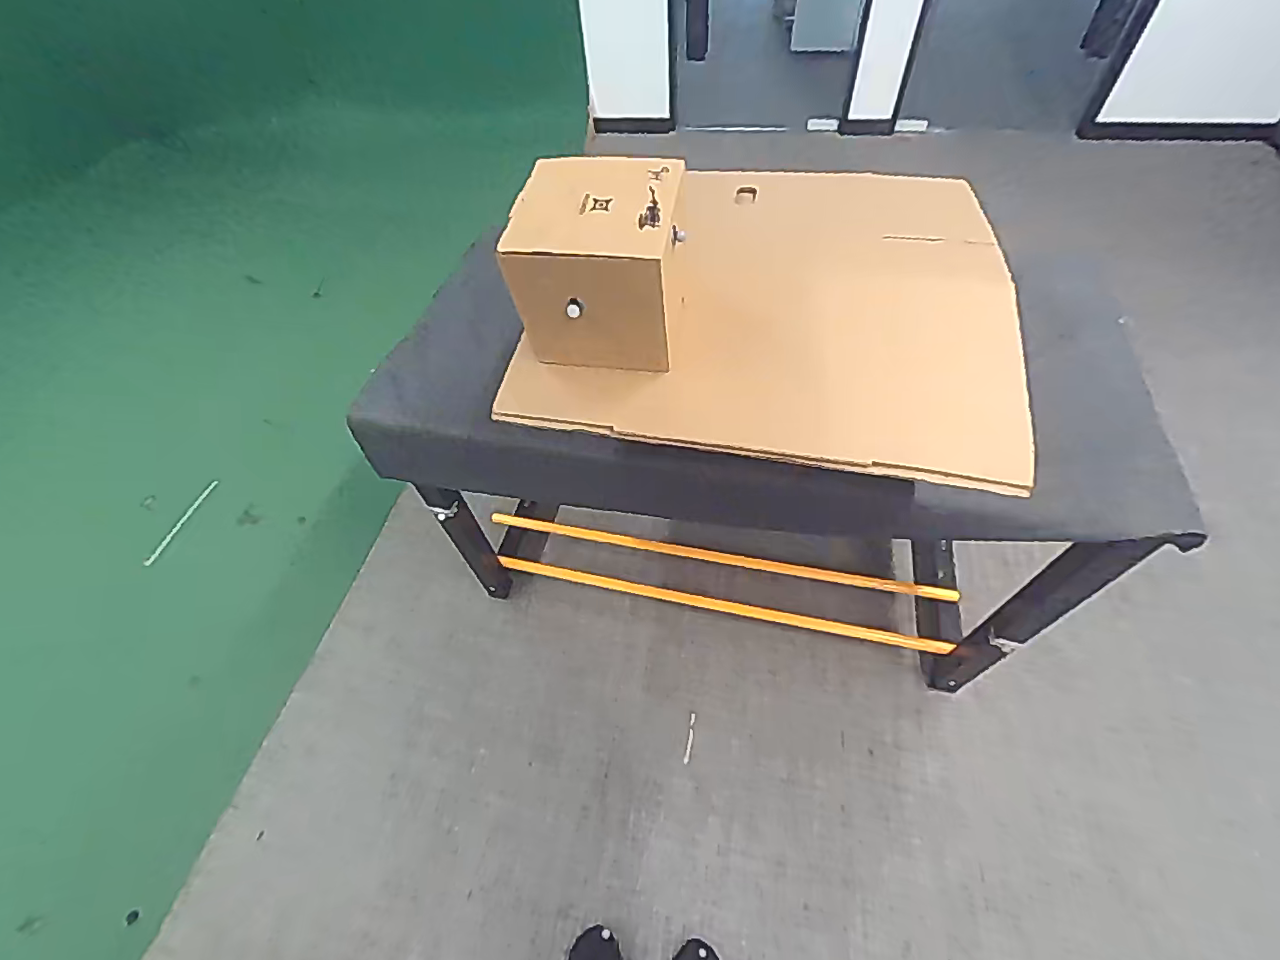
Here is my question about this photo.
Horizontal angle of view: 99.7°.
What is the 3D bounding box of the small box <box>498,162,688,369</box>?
[{"bbox_3d":[-0.041,-0.251,0.651,0.179,0.176,0.168,6,62,10],"label":"small box"}]
